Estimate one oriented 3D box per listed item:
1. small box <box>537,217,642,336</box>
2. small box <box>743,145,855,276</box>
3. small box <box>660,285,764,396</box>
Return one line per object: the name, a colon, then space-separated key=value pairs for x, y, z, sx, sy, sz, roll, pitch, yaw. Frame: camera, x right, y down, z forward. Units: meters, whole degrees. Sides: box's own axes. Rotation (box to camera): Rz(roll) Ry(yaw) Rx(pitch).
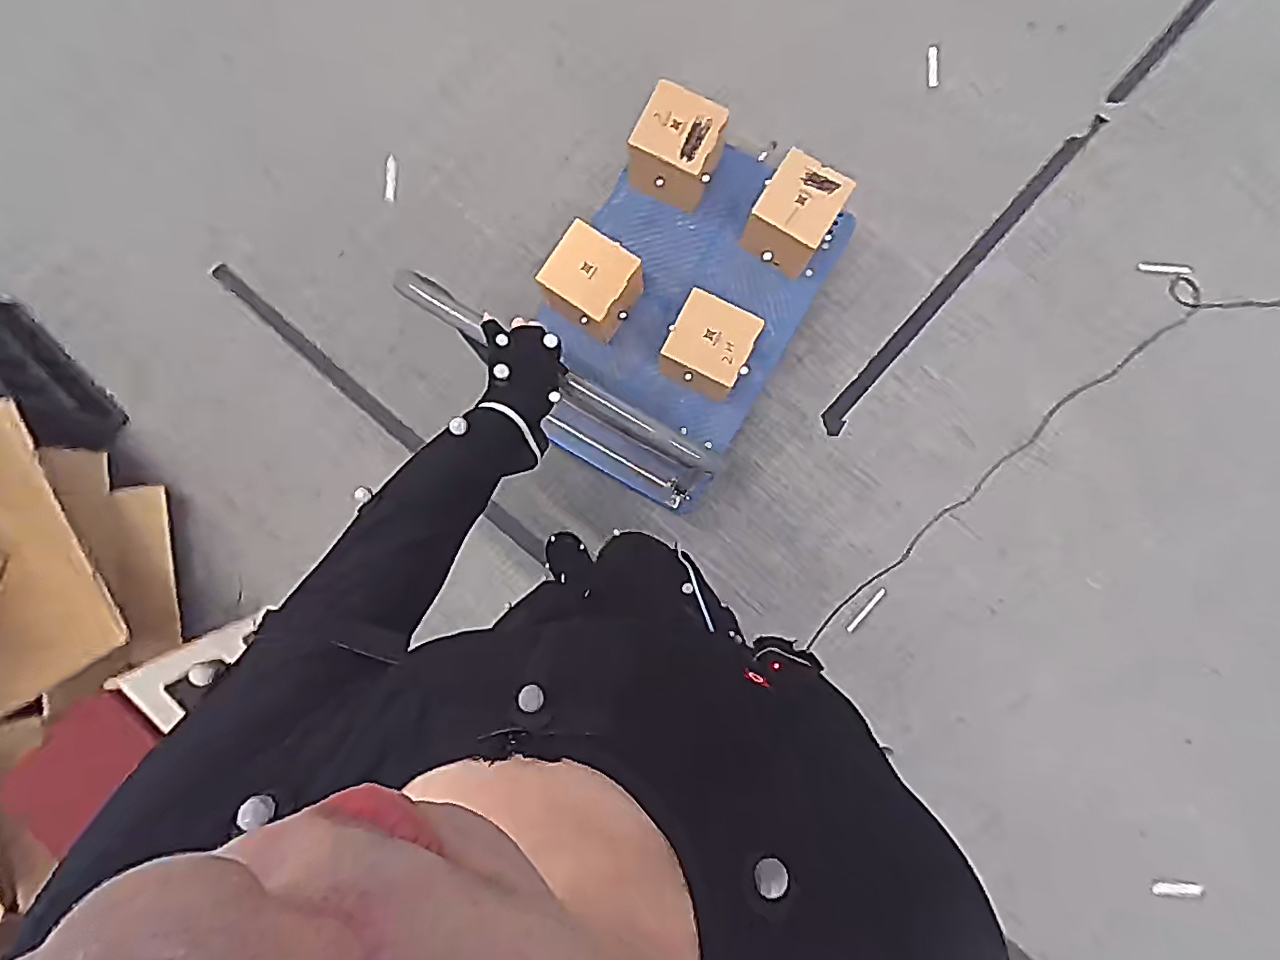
small box: x=-0.112 y=-0.462 z=1.260 sx=0.179 sy=0.176 sz=0.168 roll=34 pitch=88 yaw=1
small box: x=0.358 y=-0.616 z=1.256 sx=0.168 sy=0.176 sz=0.179 roll=32 pitch=90 yaw=2
small box: x=0.157 y=-0.310 z=1.247 sx=0.179 sy=0.176 sz=0.168 roll=27 pitch=89 yaw=2
